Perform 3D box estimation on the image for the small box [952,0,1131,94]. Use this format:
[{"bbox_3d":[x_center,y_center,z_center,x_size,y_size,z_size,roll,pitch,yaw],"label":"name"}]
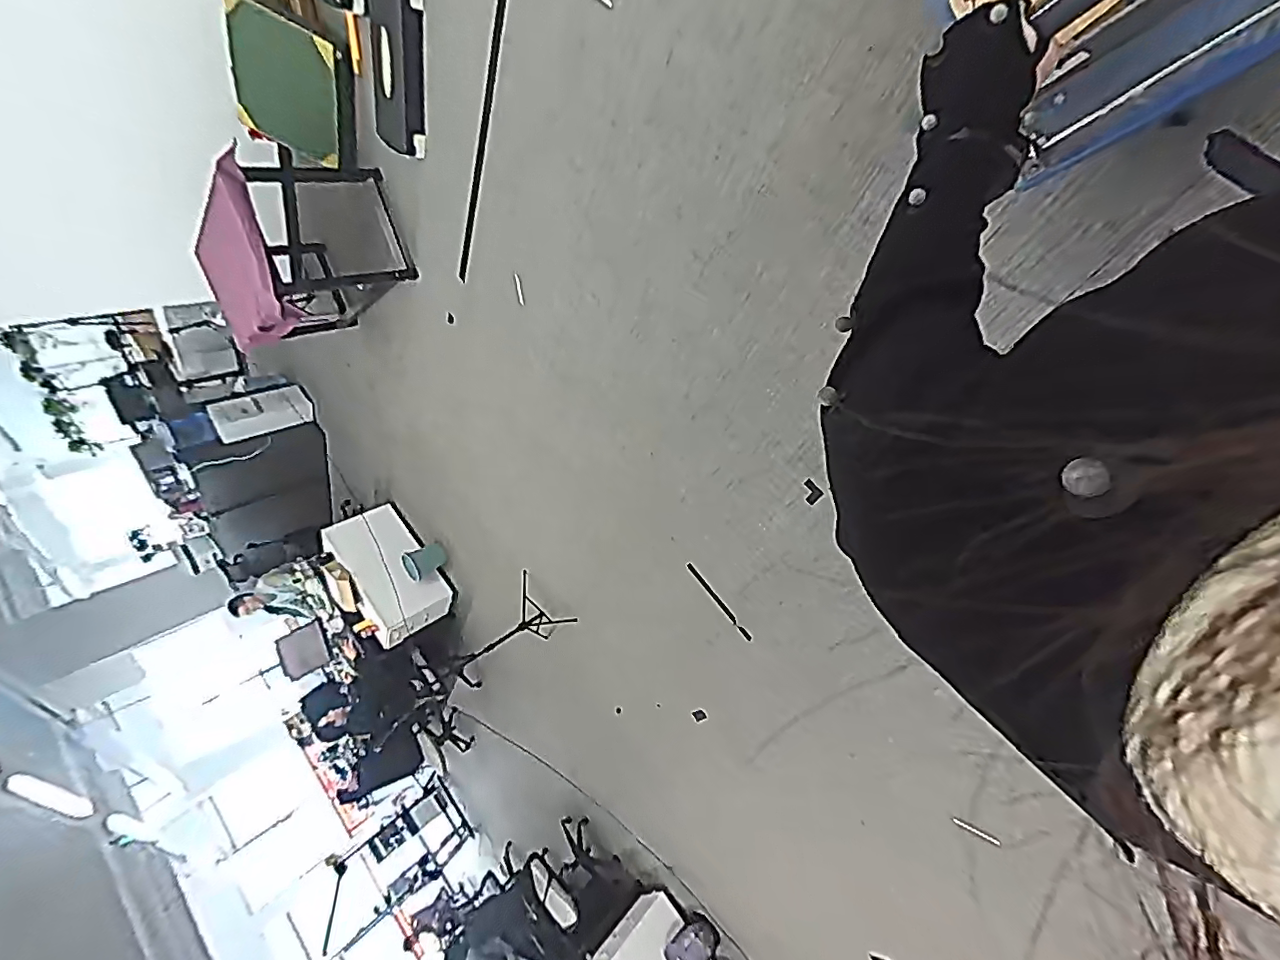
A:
[{"bbox_3d":[0.628,-0.743,0.844,0.168,0.176,0.179,-27,91,48],"label":"small box"}]
